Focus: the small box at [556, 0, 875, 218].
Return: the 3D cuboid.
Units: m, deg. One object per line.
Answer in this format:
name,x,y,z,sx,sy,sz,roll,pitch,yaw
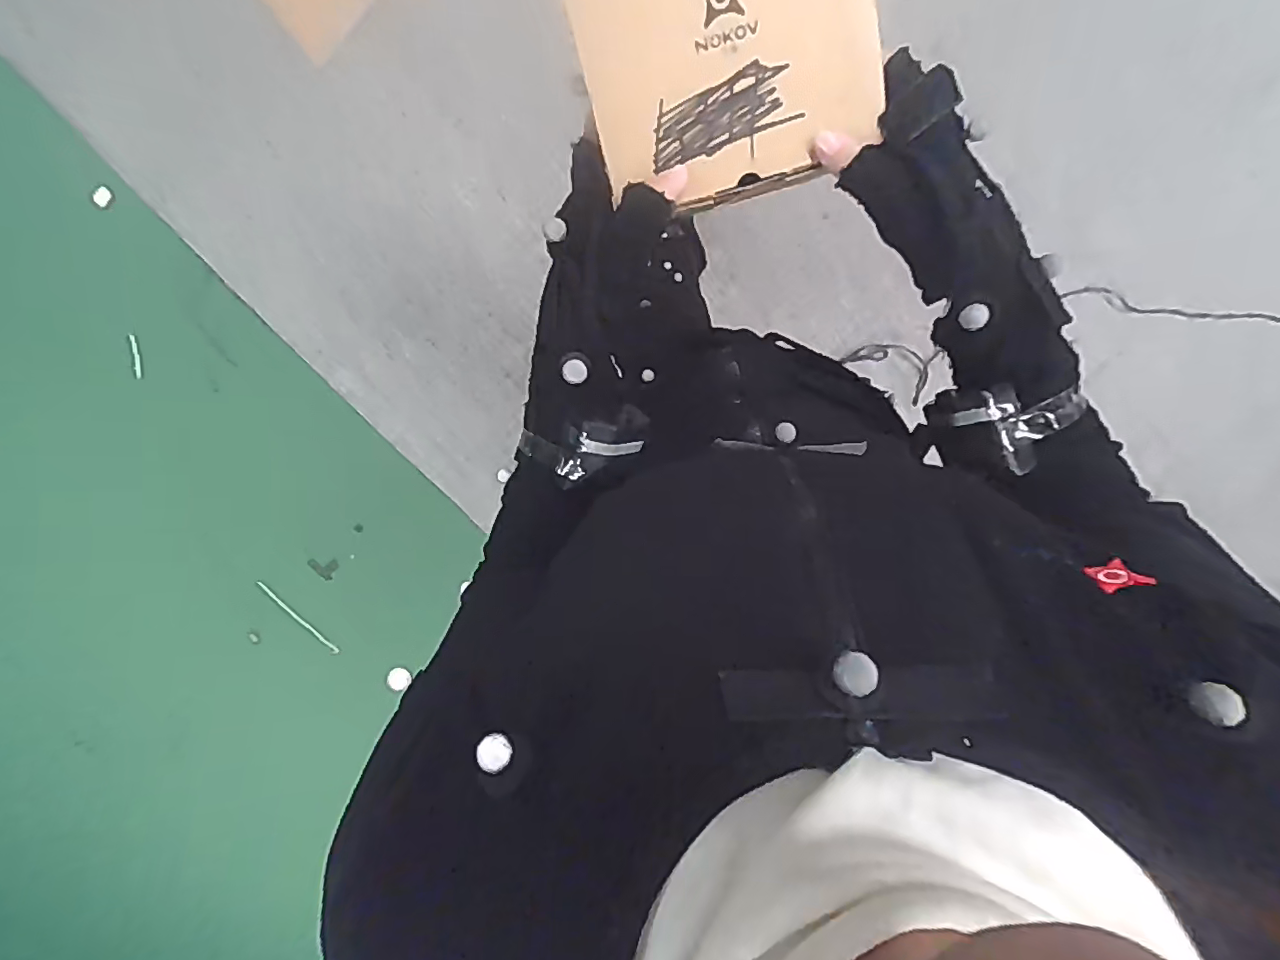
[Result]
small box,0.044,-0.301,0.375,0.168,0.176,0.179,-15,113,11
